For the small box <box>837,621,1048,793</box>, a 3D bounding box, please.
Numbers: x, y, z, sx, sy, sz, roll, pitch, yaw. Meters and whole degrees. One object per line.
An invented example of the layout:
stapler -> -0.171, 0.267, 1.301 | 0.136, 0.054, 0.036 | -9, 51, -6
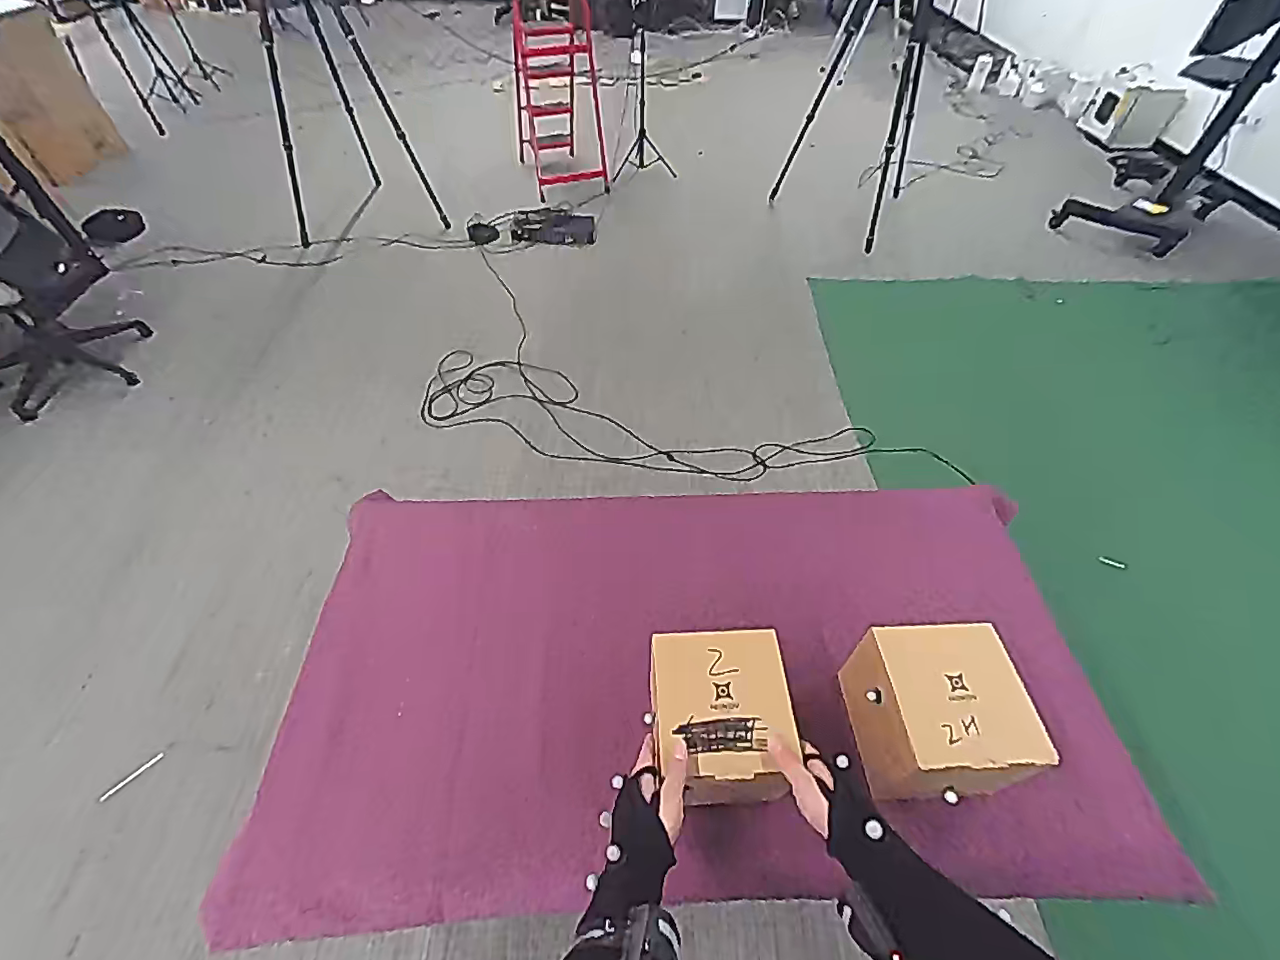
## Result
small box -> 0.386, 0.309, 0.733 | 0.168, 0.176, 0.179 | -1, 50, -1
